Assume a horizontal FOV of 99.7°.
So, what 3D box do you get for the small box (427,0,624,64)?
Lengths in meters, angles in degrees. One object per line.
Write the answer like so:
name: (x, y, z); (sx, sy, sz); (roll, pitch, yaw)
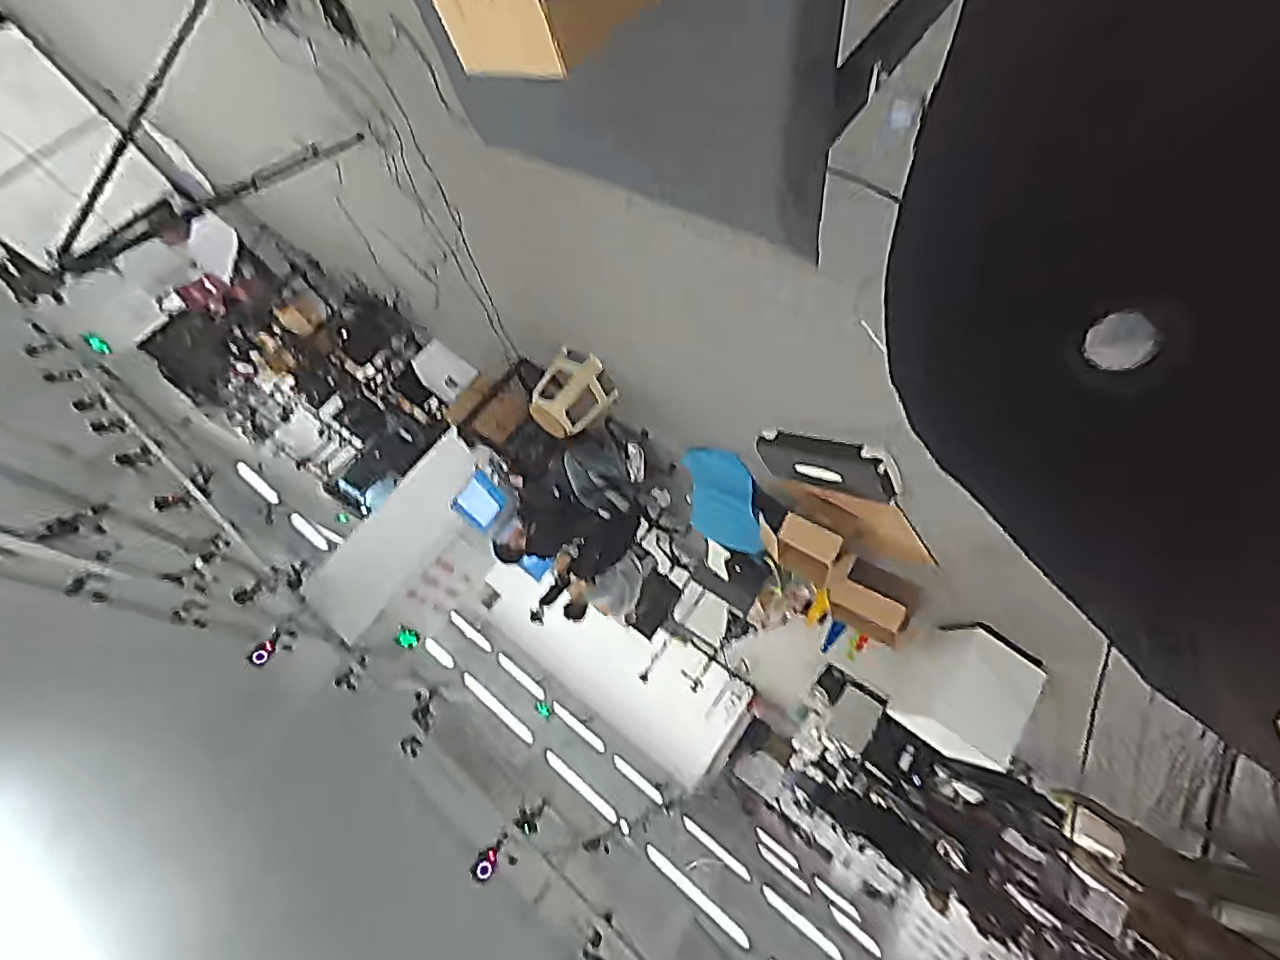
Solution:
small box: (-0.121, -0.552, 0.537); (0.179, 0.176, 0.168); (30, 161, 31)
